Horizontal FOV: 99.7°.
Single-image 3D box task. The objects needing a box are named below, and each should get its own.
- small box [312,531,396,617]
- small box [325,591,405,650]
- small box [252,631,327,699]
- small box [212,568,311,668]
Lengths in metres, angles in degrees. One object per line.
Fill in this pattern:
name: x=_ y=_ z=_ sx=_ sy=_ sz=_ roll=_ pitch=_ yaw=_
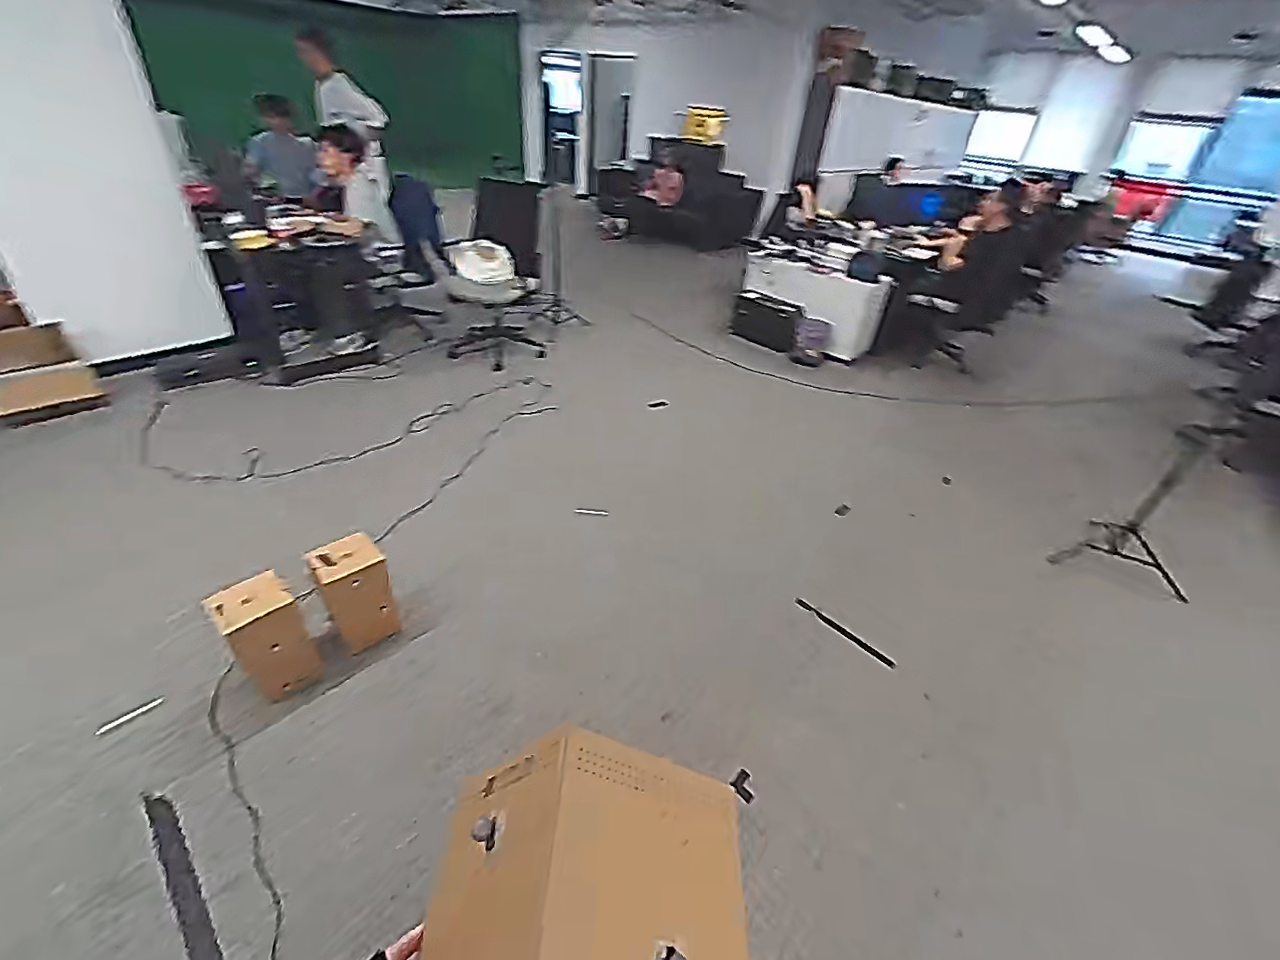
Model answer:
small box: x=-0.891 y=0.294 z=1.694 sx=0.179 sy=0.176 sz=0.168 roll=-24 pitch=45 yaw=-38
small box: x=-0.907 y=0.428 z=1.790 sx=0.179 sy=0.176 sz=0.168 roll=-25 pitch=45 yaw=-37
small box: x=-1.079 y=0.520 z=1.632 sx=0.168 sy=0.176 sz=0.179 roll=-28 pitch=48 yaw=-37
small box: x=-1.063 y=0.390 z=1.534 sx=0.168 sy=0.176 sz=0.179 roll=32 pitch=43 yaw=33
